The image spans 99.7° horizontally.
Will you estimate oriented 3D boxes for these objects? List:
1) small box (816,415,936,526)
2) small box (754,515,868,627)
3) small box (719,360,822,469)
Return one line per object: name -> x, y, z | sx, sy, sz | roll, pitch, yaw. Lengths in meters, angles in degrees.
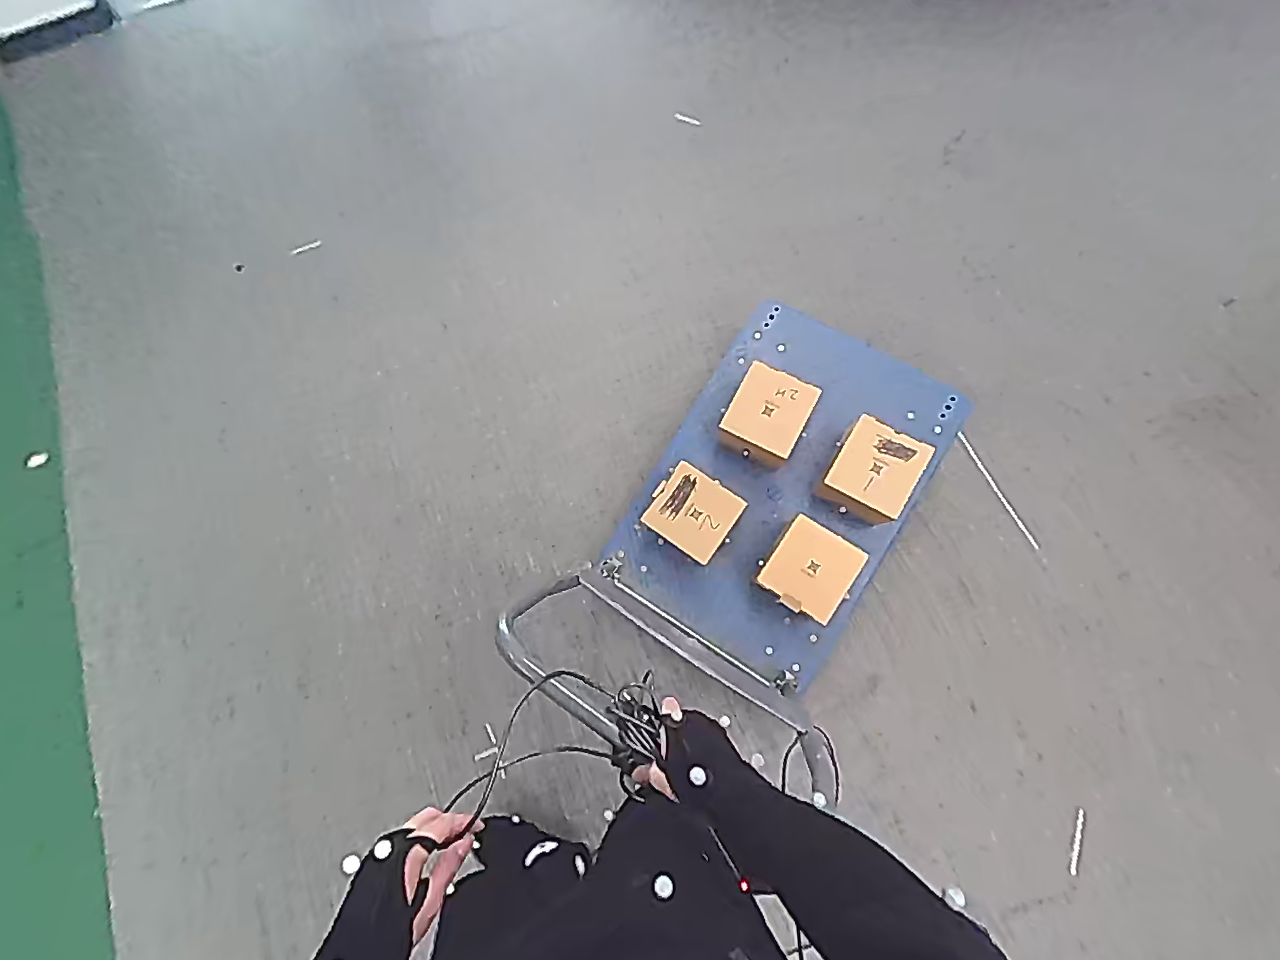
small box -> 0.512, -0.014, 1.205 | 0.168, 0.176, 0.179 | 31, 87, 12
small box -> 0.366, 0.198, 1.195 | 0.168, 0.176, 0.179 | 34, 88, 12
small box -> 0.297, -0.143, 1.256 | 0.168, 0.176, 0.179 | 29, 86, 11
